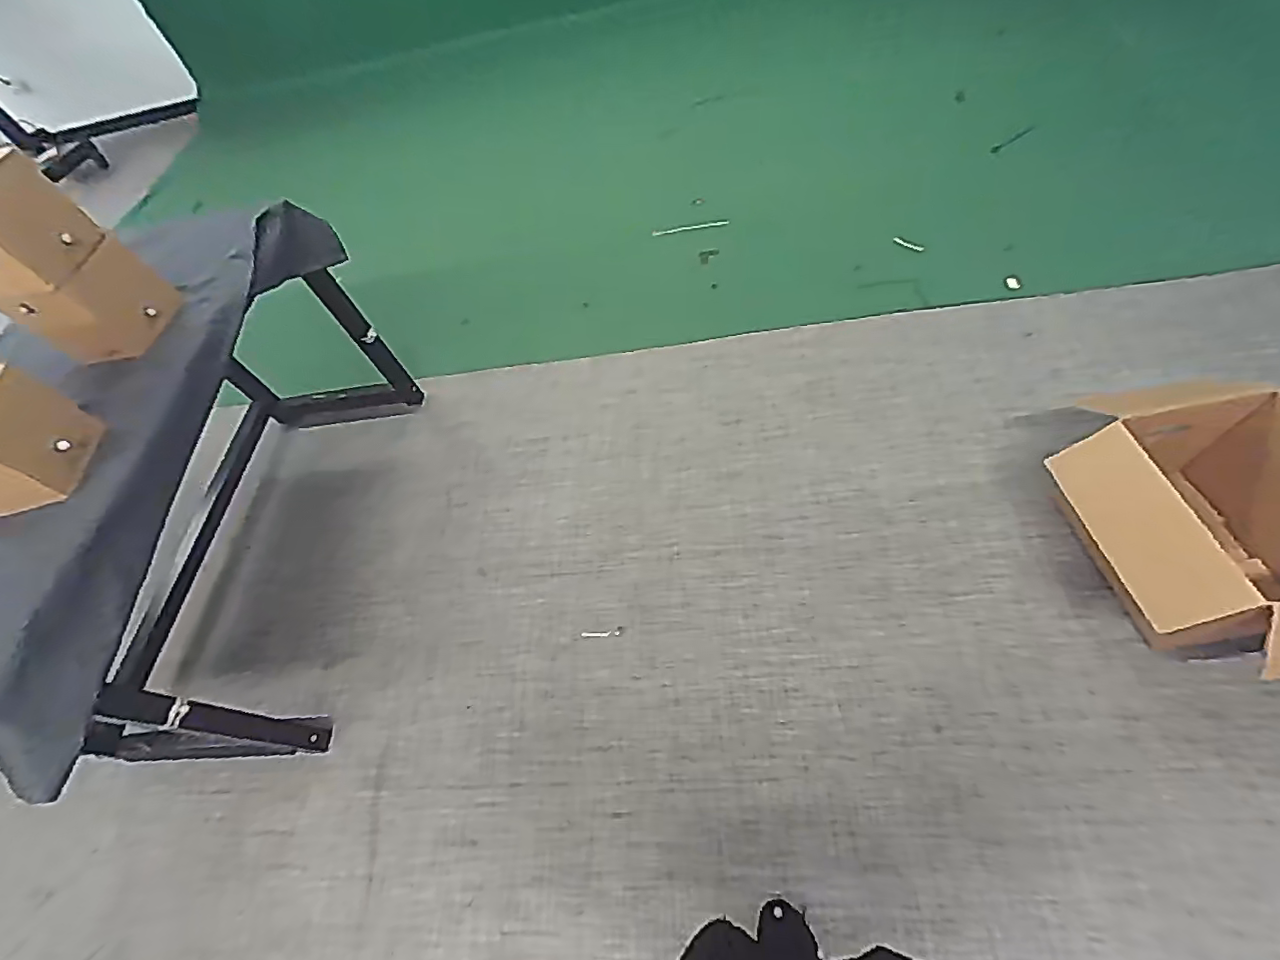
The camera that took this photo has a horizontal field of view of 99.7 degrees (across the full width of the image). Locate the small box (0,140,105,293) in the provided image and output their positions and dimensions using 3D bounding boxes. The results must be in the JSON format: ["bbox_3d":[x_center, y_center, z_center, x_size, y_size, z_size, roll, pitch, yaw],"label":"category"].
[{"bbox_3d":[-1.131,-0.456,0.947,0.168,0.176,0.179,-4,58,9],"label":"small box"}]

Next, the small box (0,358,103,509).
[{"bbox_3d":[-1.068,-0.066,0.888,0.179,0.176,0.168,-13,57,2],"label":"small box"}]

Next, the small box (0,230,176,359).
[{"bbox_3d":[-1.099,-0.369,1.088,0.168,0.176,0.179,-5,57,9],"label":"small box"}]
